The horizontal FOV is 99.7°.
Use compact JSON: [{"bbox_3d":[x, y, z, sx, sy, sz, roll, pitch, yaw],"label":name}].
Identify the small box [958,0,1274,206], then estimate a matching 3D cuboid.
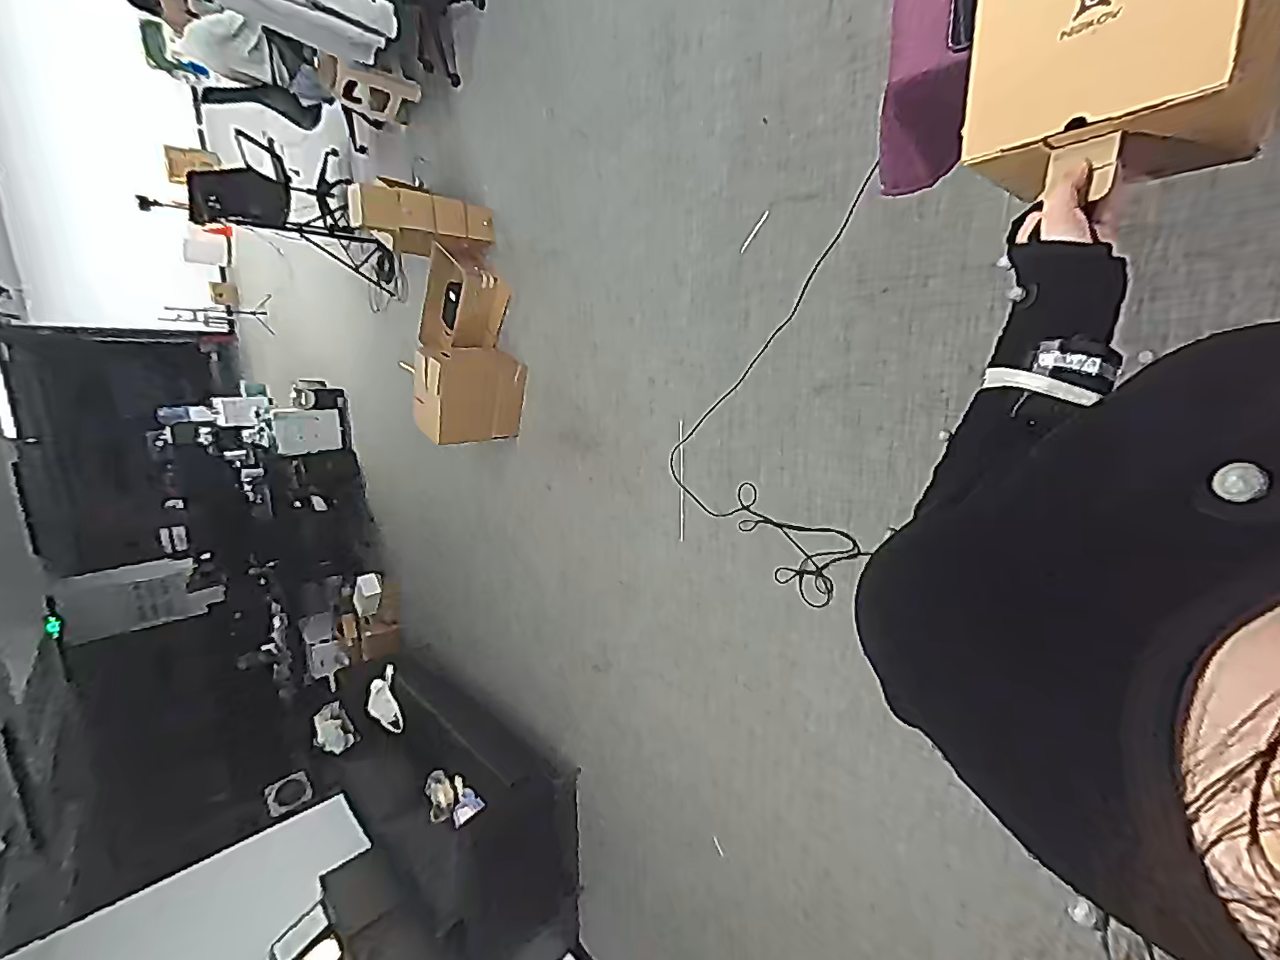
[{"bbox_3d":[0.402,-0.360,0.461,0.168,0.176,0.179,13,106,51],"label":"small box"}]
